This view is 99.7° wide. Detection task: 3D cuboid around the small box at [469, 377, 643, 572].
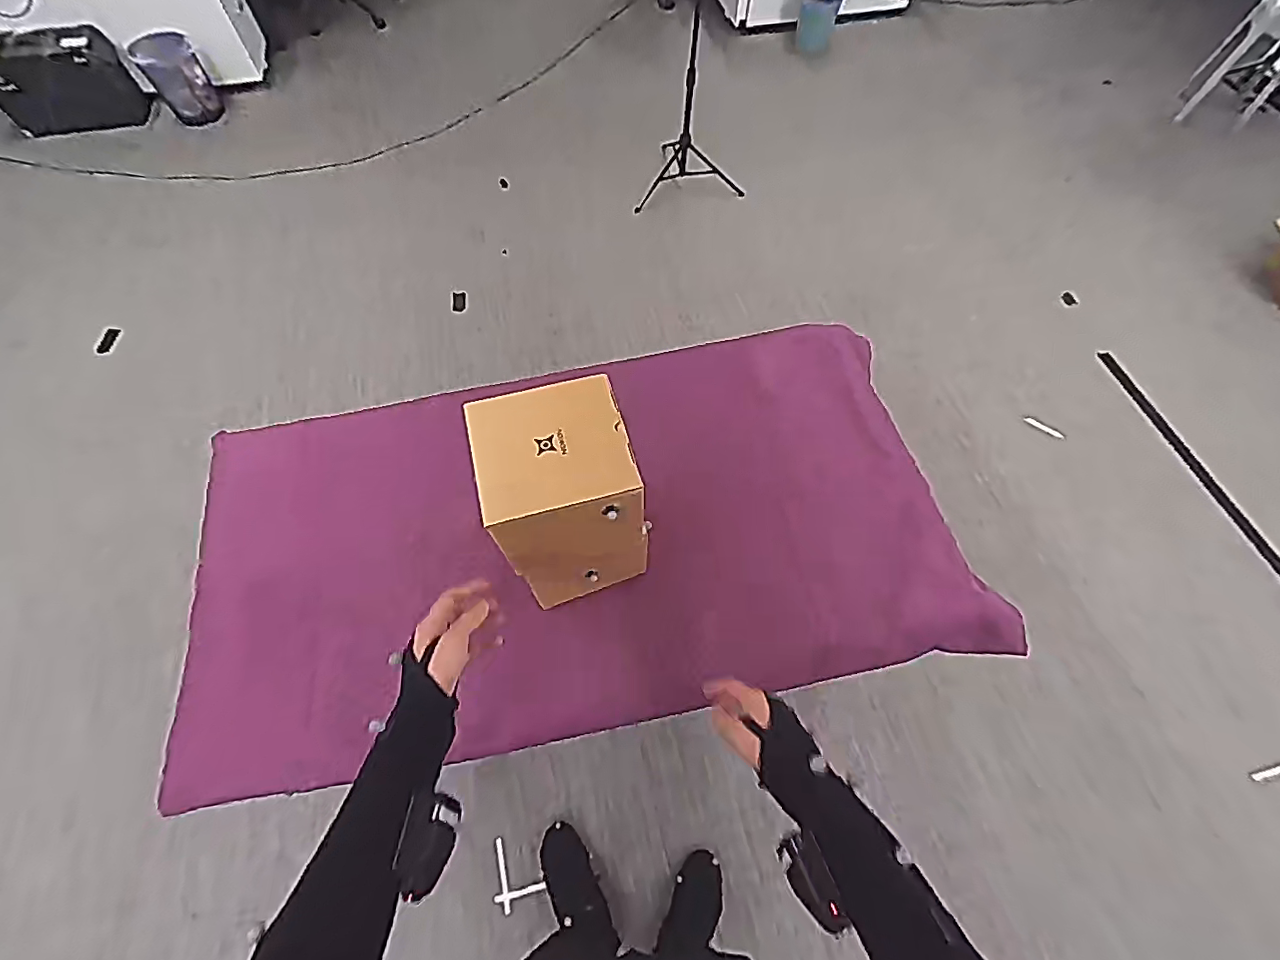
[{"bbox_3d":[-0.099,0.000,0.684,0.179,0.176,0.168,-14,63,-8],"label":"small box"}]
